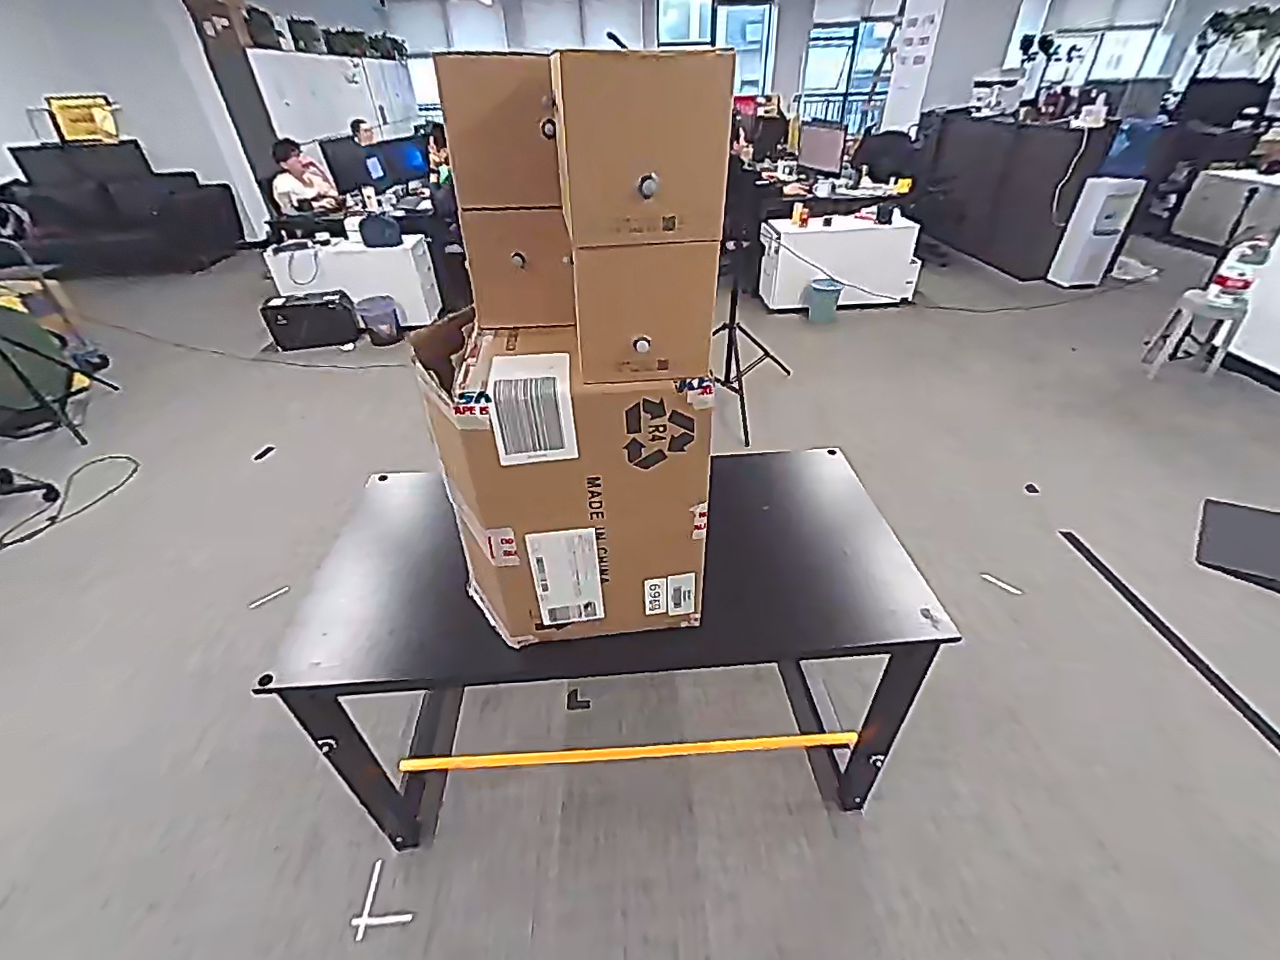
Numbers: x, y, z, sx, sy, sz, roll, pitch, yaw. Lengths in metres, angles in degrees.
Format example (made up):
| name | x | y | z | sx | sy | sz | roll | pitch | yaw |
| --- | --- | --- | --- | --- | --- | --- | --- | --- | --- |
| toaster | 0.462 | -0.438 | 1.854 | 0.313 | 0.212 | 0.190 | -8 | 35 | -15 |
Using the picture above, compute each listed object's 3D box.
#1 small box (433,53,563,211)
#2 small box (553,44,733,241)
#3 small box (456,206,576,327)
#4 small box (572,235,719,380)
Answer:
| name | x | y | z | sx | sy | sz | roll | pitch | yaw |
| --- | --- | --- | --- | --- | --- | --- | --- | --- | --- |
| small box | -0.170 | -0.479 | 0.751 | 0.179 | 0.176 | 0.168 | -7 | 35 | -8 |
| small box | -0.007 | -0.375 | 0.604 | 0.168 | 0.176 | 0.179 | -7 | 38 | -7 |
| small box | -0.170 | -0.346 | 0.847 | 0.179 | 0.176 | 0.168 | -5 | 35 | -6 |
| small box | -0.003 | -0.244 | 0.706 | 0.168 | 0.176 | 0.179 | -4 | 38 | -6 |
